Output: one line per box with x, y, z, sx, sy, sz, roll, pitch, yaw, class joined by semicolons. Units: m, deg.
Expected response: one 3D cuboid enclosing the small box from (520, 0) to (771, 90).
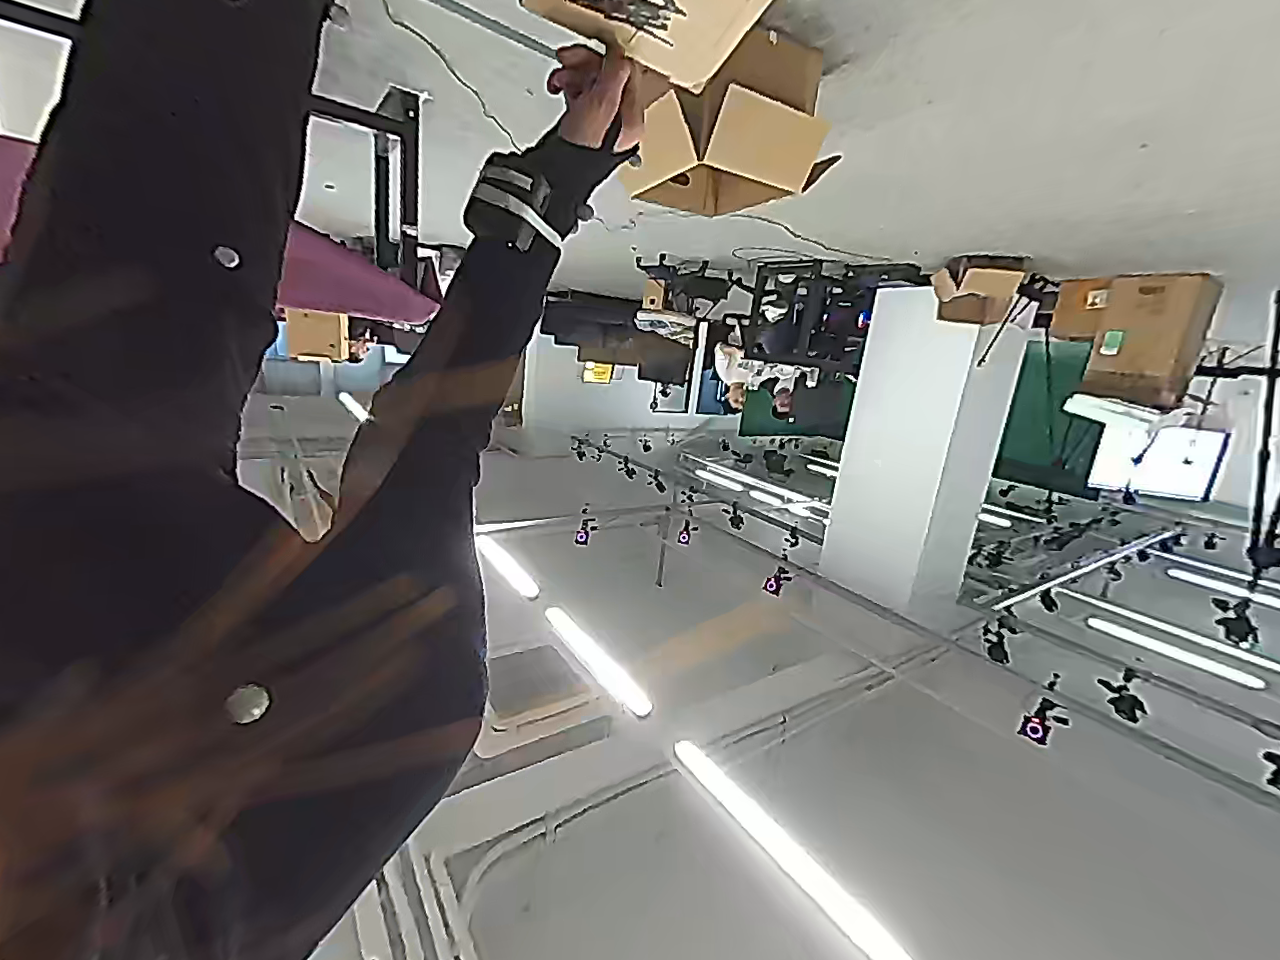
0.020;-0.438;0.376;0.168;0.176;0.179;1;173;-30;small box
